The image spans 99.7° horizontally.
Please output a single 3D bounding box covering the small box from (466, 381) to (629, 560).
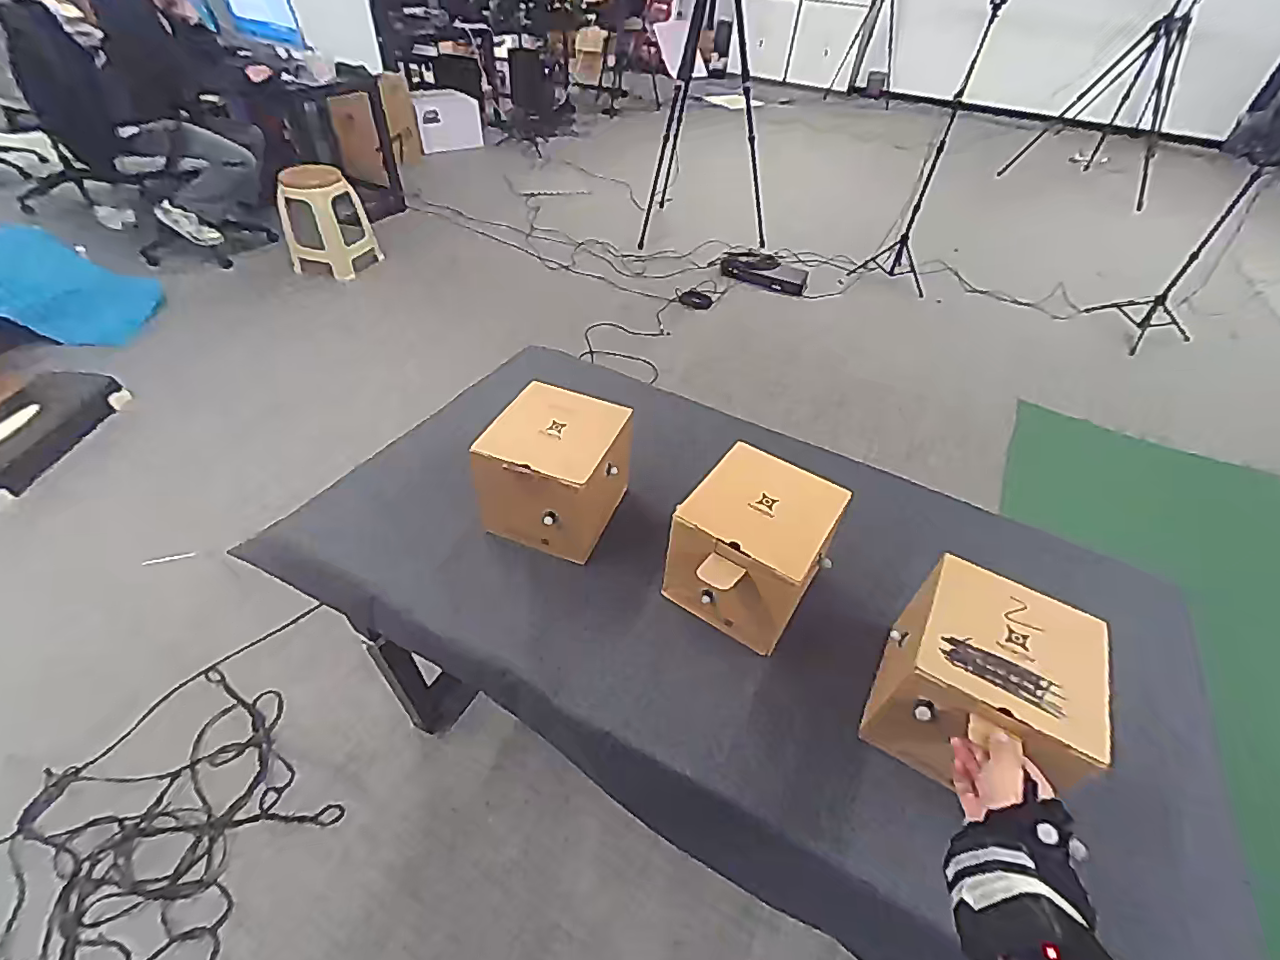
[{"bbox_3d":[-0.124,-0.013,0.789,0.168,0.176,0.179,18,44,11],"label":"small box"}]

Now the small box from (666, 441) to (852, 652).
[{"bbox_3d":[0.147,0.086,0.712,0.168,0.176,0.179,28,49,21],"label":"small box"}]
